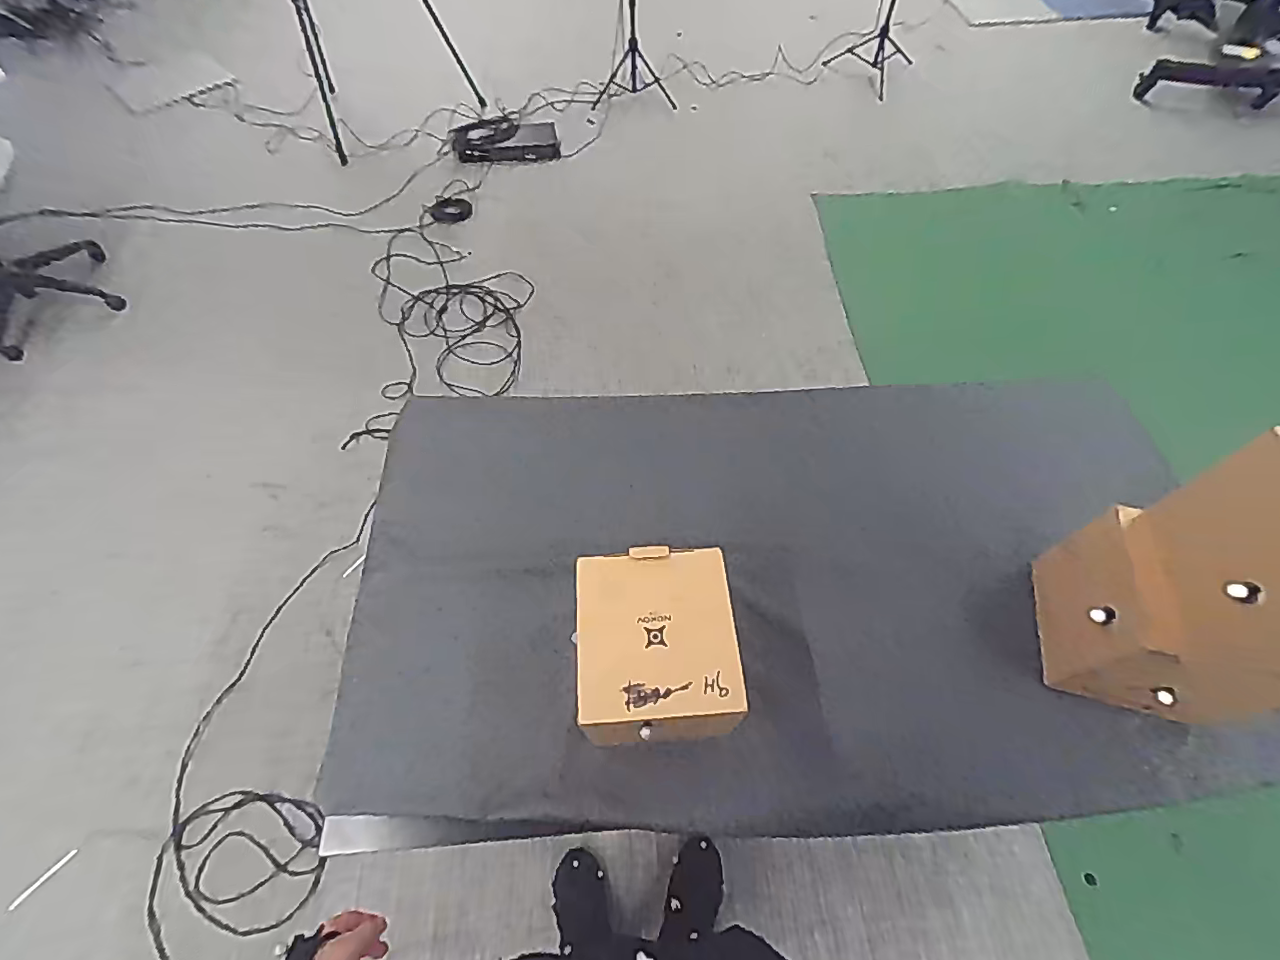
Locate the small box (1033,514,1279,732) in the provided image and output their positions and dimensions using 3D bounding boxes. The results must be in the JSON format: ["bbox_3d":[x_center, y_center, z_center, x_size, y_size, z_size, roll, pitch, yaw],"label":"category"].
[{"bbox_3d":[0.592,0.169,0.622,0.168,0.176,0.179,13,57,10],"label":"small box"}]

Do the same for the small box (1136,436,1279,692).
[{"bbox_3d":[0.608,0.089,0.480,0.168,0.176,0.179,10,56,6],"label":"small box"}]

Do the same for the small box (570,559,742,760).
[{"bbox_3d":[0.011,0.208,0.619,0.168,0.176,0.179,-4,57,-1],"label":"small box"}]
